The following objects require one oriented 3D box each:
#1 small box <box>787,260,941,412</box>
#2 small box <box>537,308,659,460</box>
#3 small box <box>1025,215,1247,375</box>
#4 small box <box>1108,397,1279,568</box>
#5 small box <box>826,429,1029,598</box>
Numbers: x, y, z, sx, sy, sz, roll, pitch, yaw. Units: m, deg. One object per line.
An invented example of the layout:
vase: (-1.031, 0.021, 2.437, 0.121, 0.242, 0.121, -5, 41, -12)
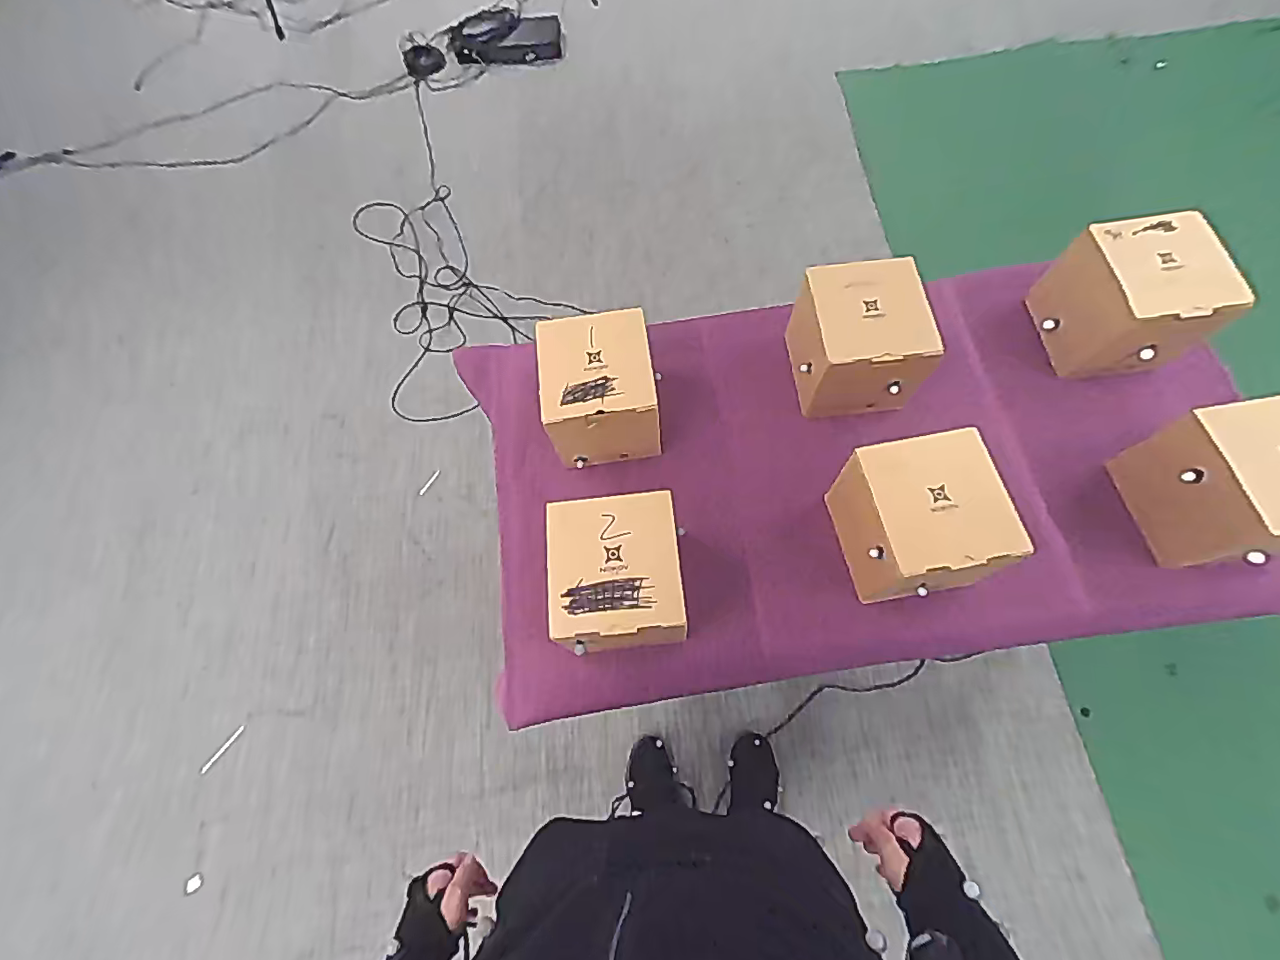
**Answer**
small box: (0.344, -0.220, 0.867, 0.168, 0.176, 0.179, -5, 68, 1)
small box: (-0.061, -0.142, 0.859, 0.168, 0.176, 0.179, -7, 67, 0)
small box: (0.766, -0.282, 0.861, 0.168, 0.176, 0.179, -7, 71, 1)
small box: (0.807, 0.007, 0.740, 0.168, 0.176, 0.179, -9, 67, 2)
small box: (0.379, 0.053, 0.754, 0.168, 0.176, 0.179, -10, 67, -1)
